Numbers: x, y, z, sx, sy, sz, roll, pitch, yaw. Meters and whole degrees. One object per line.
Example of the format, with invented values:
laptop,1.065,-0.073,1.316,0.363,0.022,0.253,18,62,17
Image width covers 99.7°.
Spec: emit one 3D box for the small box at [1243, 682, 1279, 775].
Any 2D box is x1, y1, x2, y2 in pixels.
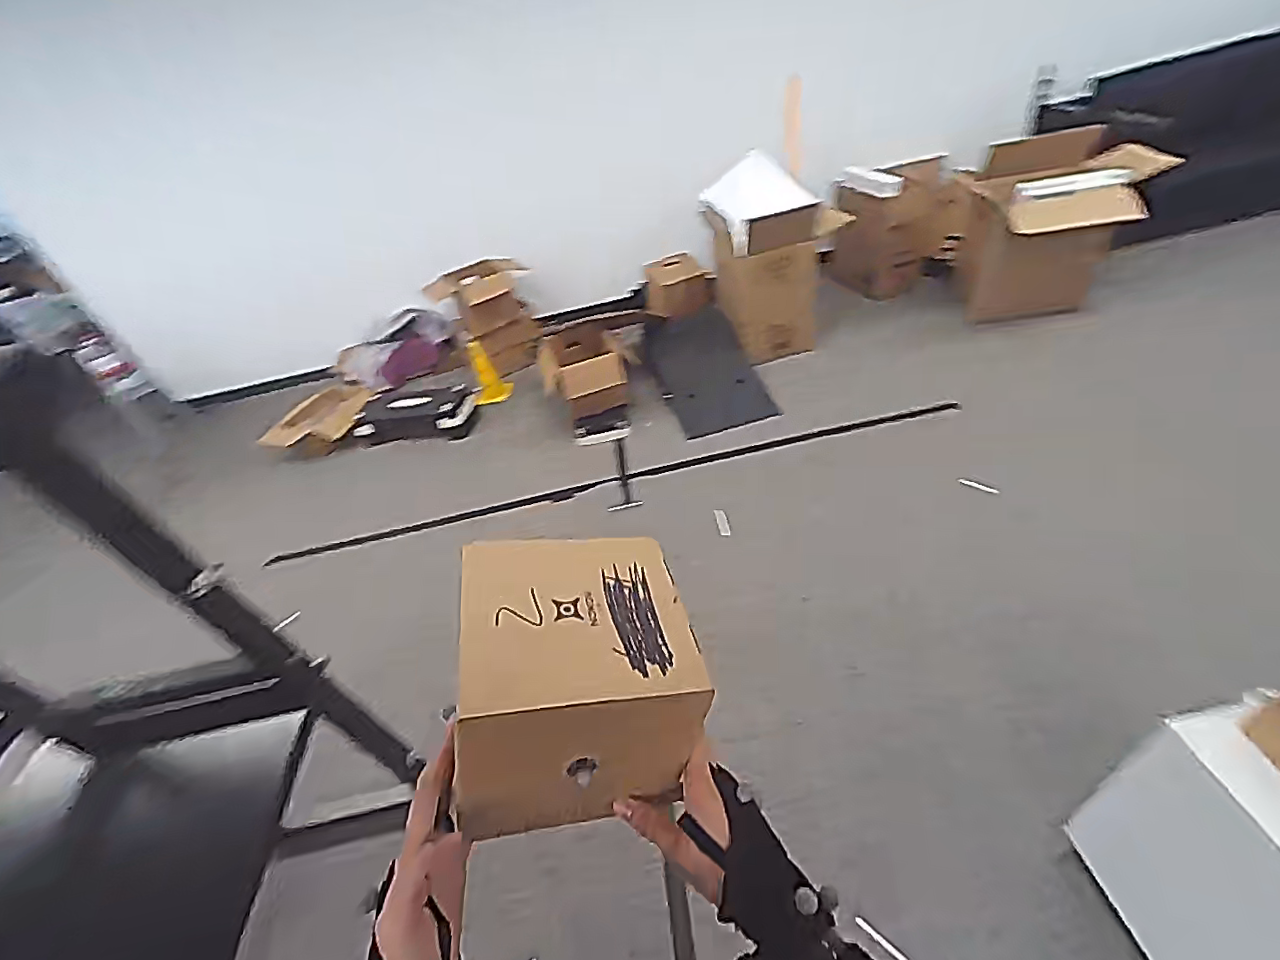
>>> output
small box,1.051,0.385,0.780,0.179,0.176,0.168,-12,41,1
